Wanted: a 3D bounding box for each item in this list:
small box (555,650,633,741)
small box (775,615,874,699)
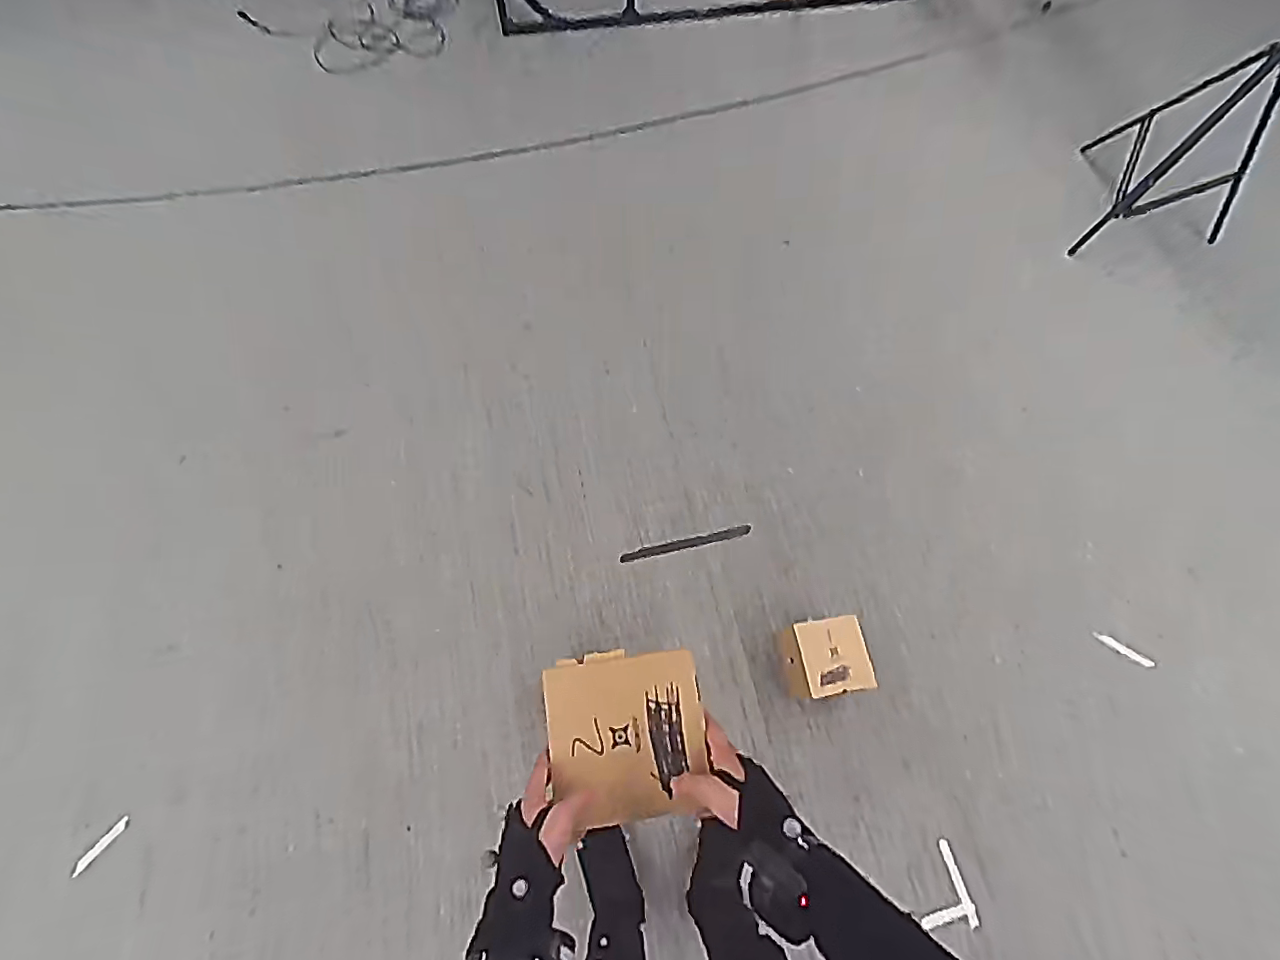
[{"bbox_3d":[-0.109,0.524,1.321,0.168,0.176,0.179,-9,68,-6],"label":"small box"},{"bbox_3d":[0.458,0.453,1.373,0.168,0.176,0.179,-7,67,-6],"label":"small box"}]
